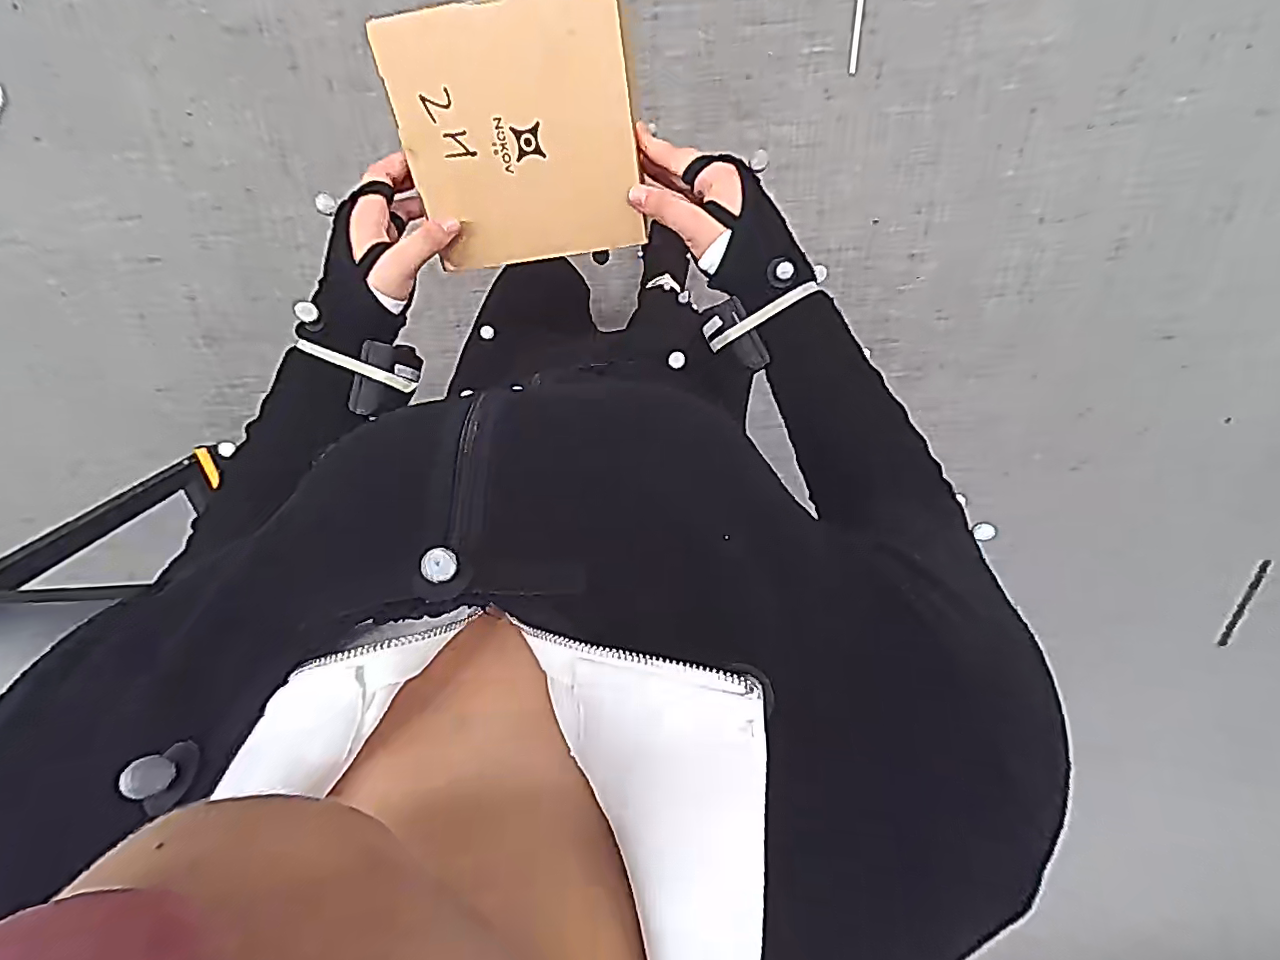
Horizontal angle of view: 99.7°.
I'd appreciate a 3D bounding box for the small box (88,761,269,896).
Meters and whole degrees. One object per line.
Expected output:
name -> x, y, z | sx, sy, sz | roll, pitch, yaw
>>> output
small box -> -0.882, 0.674, 1.055 | 0.179, 0.176, 0.168 | -4, 119, 2
